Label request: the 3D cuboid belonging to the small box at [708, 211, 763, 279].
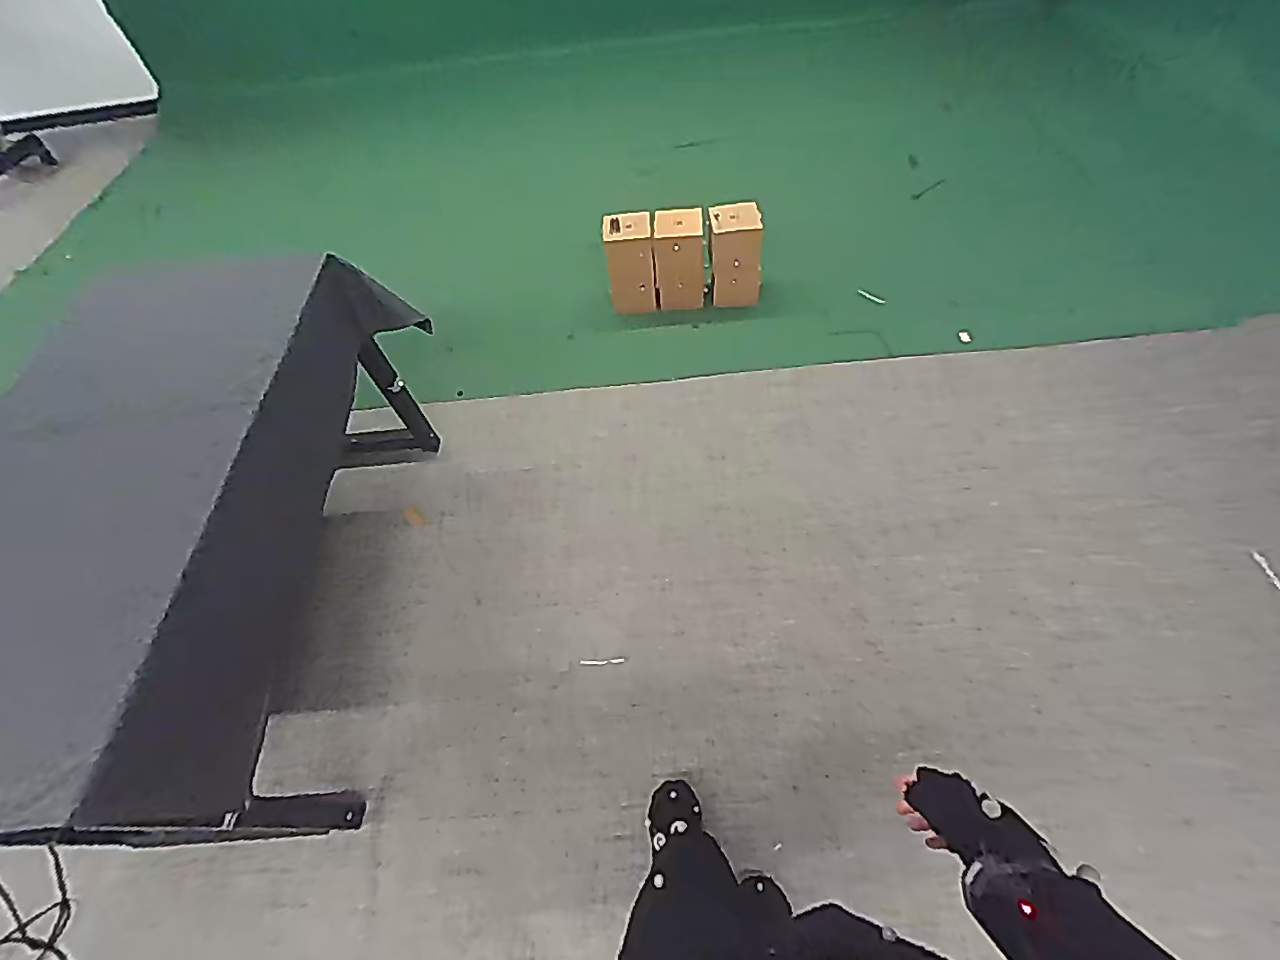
[{"bbox_3d":[0.352,-0.873,2.015,0.179,0.176,0.168,-4,56,2],"label":"small box"}]
